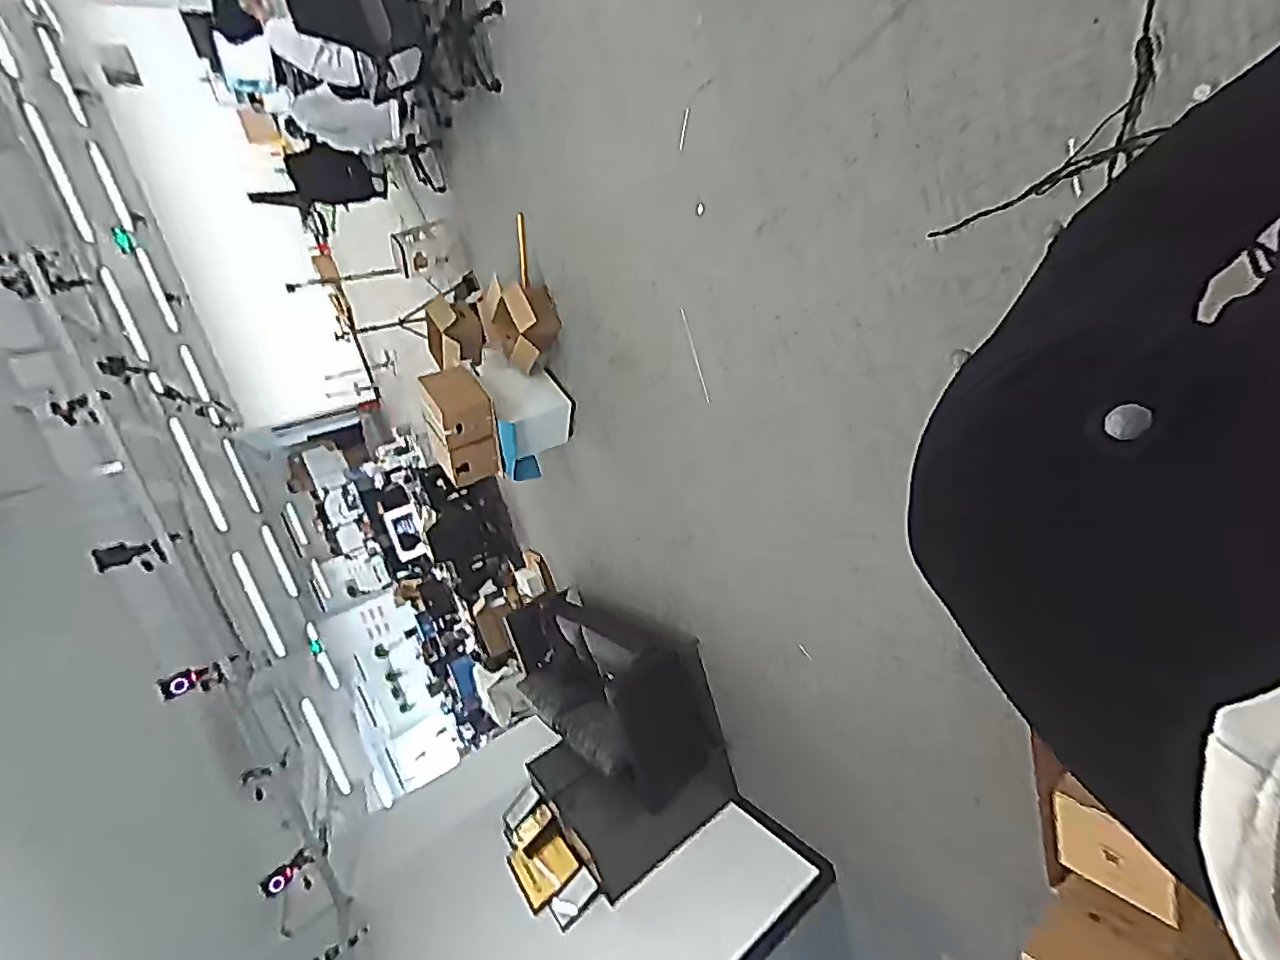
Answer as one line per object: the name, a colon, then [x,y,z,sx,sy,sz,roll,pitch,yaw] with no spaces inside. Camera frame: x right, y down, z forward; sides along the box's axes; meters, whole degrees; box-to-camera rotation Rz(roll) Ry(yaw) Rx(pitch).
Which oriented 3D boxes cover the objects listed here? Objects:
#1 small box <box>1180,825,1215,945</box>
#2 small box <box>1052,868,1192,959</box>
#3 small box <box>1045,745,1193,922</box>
small box: [1.080,0.820,1.144,0.168,0.176,0.179,6,113,57]
small box: [0.948,0.869,1.064,0.168,0.176,0.179,6,113,58]
small box: [0.885,0.637,1.001,0.168,0.176,0.179,8,117,58]
